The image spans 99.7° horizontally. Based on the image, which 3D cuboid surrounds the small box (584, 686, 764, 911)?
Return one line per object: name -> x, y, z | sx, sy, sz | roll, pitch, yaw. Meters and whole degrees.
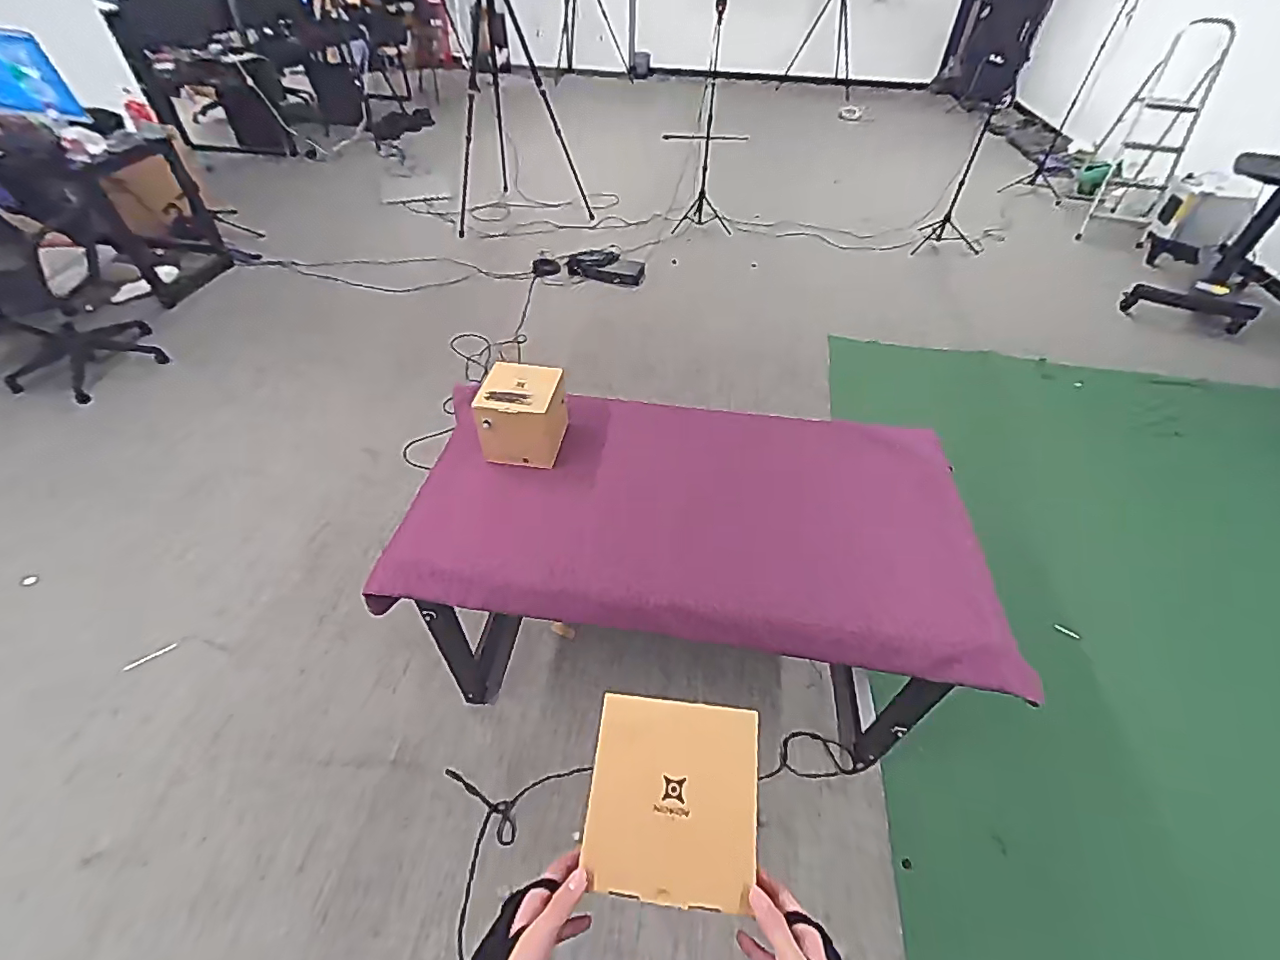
small box -> 0.041, 0.345, 0.602 | 0.168, 0.176, 0.179 | 5, 60, 6
